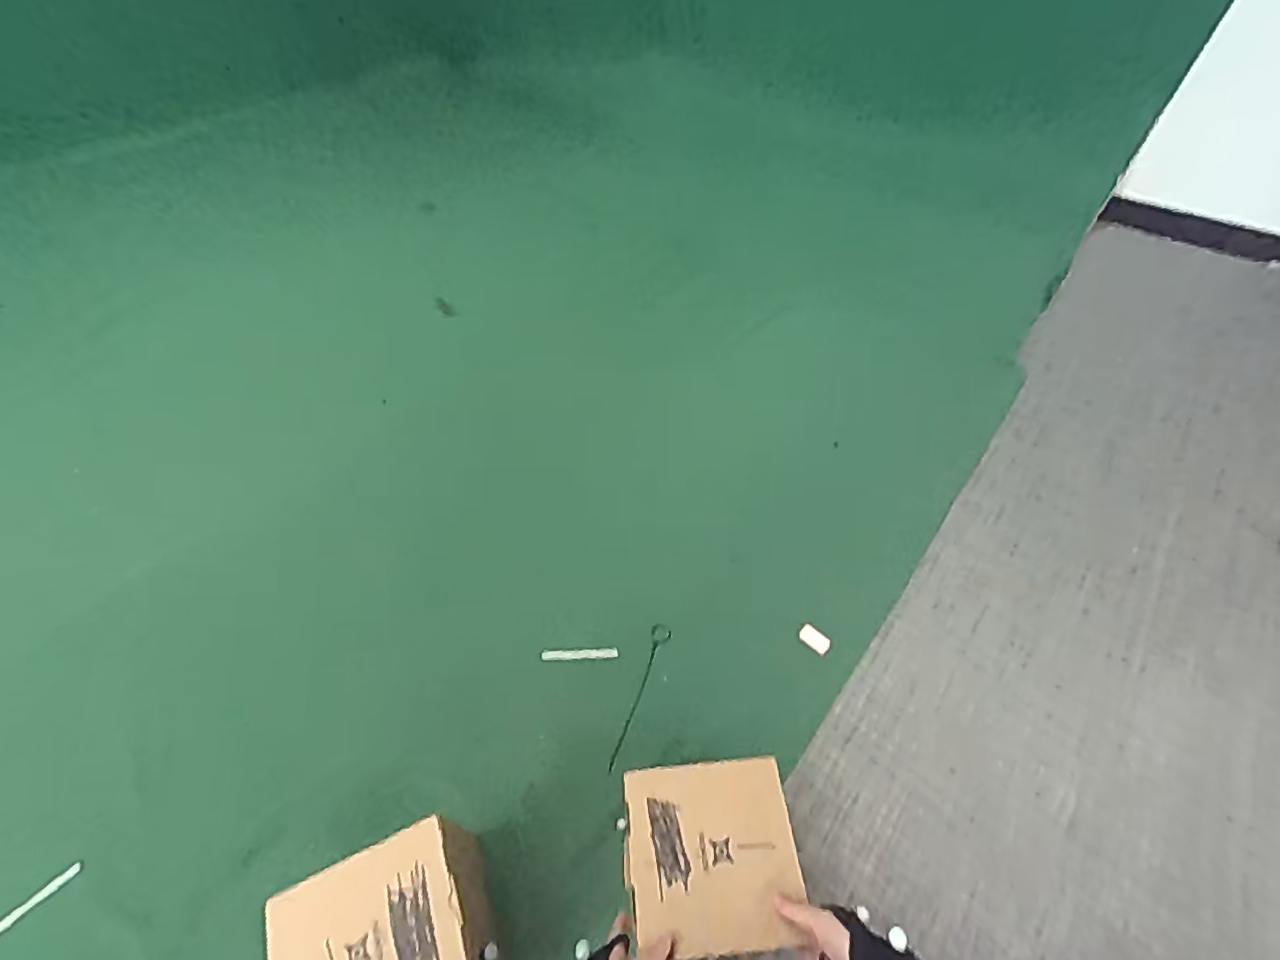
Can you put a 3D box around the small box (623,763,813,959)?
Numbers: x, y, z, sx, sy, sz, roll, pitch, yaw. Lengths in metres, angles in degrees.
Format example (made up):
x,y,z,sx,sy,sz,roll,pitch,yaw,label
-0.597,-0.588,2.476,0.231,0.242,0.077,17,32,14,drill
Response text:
x,y,z,sx,sy,sz,roll,pitch,yaw,label
0.075,0.443,0.623,0.179,0.176,0.168,-4,50,-4,small box
